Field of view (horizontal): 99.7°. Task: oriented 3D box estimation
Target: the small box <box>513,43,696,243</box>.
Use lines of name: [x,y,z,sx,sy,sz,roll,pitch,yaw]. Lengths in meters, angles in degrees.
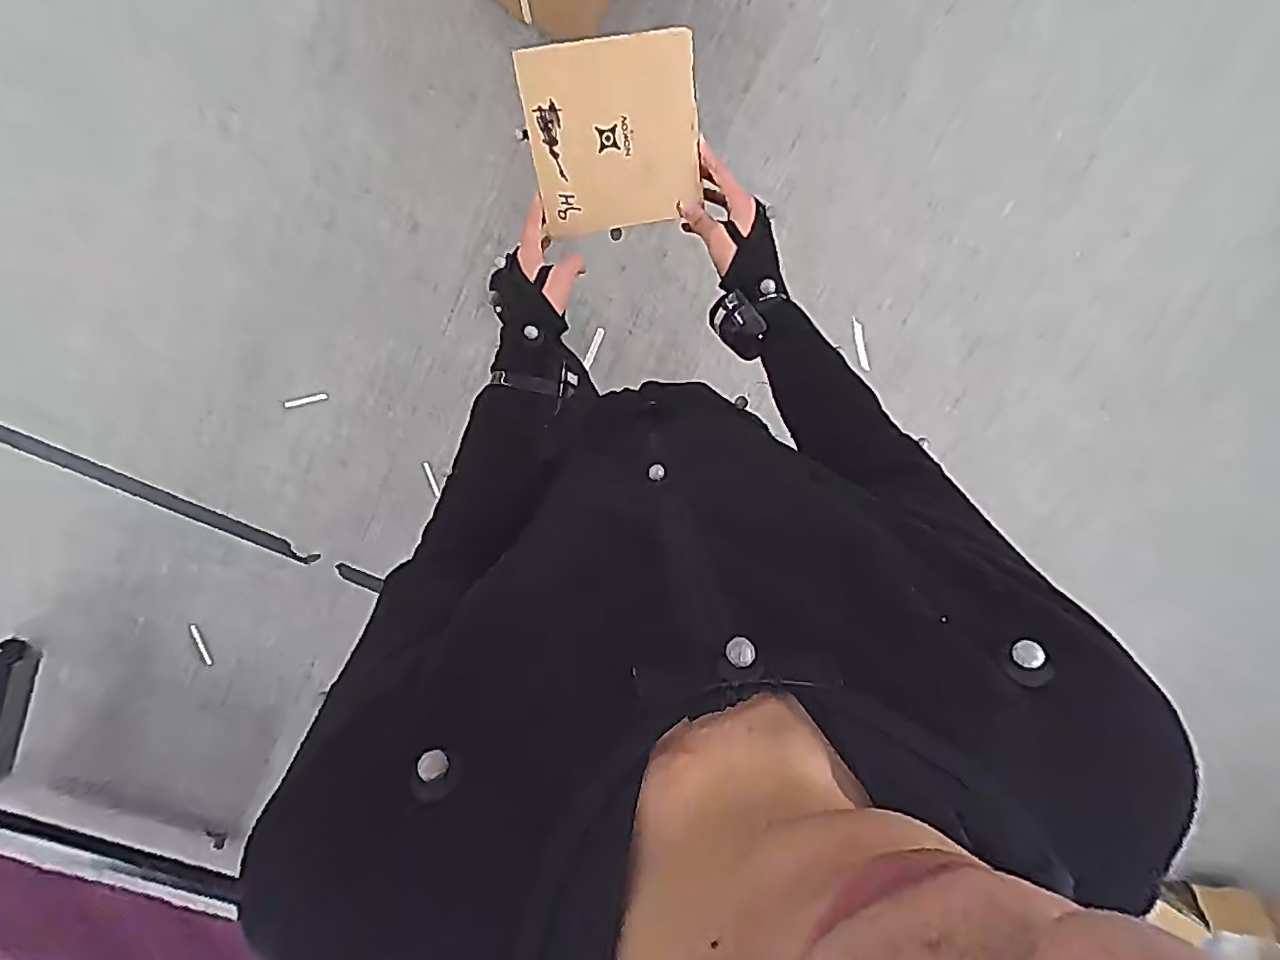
small box: [-0.044,-0.384,0.636,0.179,0.176,0.168,-11,117,-5]
